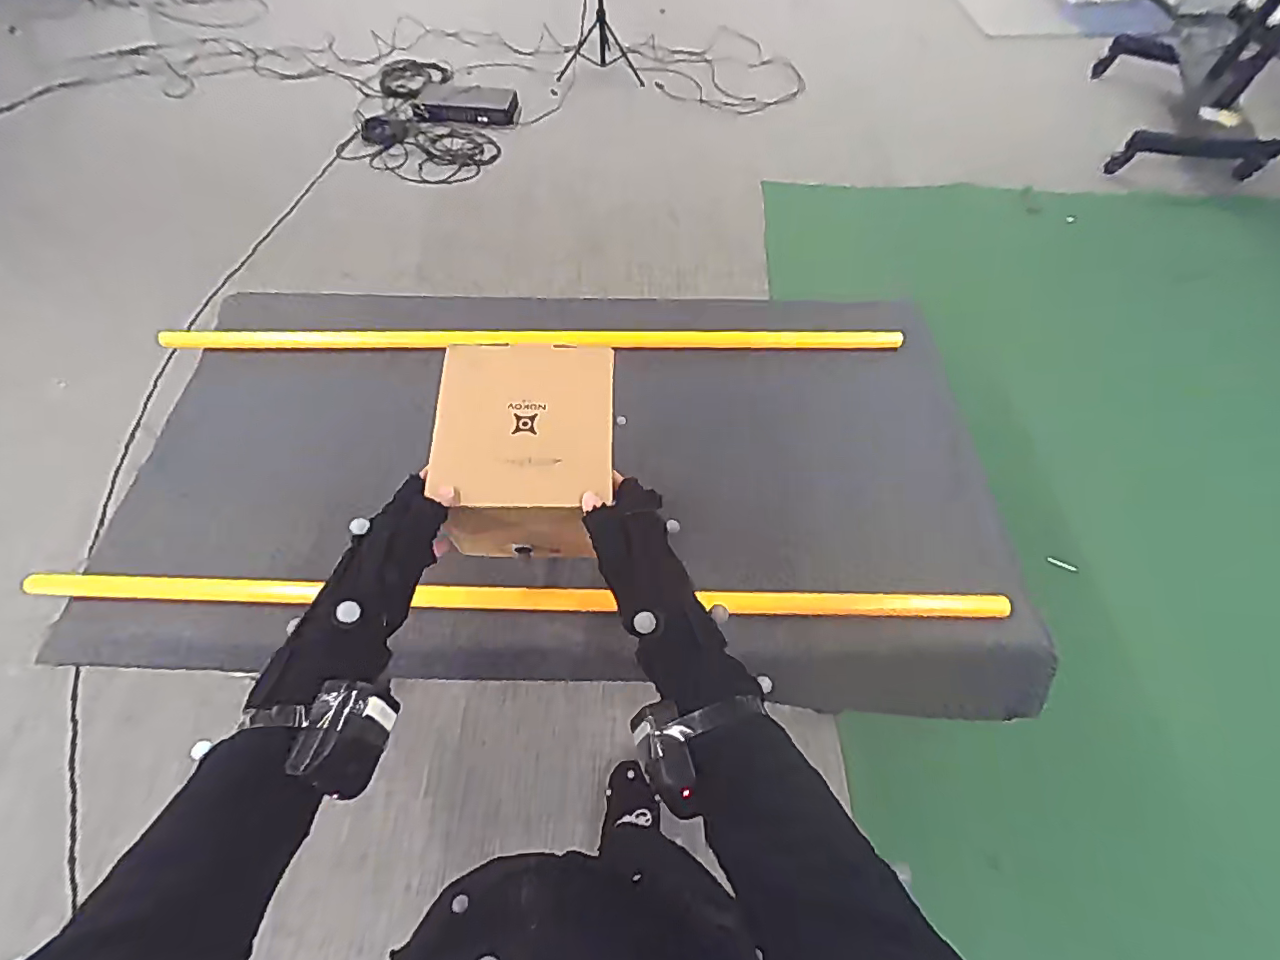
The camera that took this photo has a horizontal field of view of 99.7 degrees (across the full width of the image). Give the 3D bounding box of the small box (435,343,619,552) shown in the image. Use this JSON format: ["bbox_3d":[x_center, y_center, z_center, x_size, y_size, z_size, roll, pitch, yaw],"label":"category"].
[{"bbox_3d":[-0.107,-0.028,0.590,0.168,0.176,0.179,-1,68,-3],"label":"small box"}]
